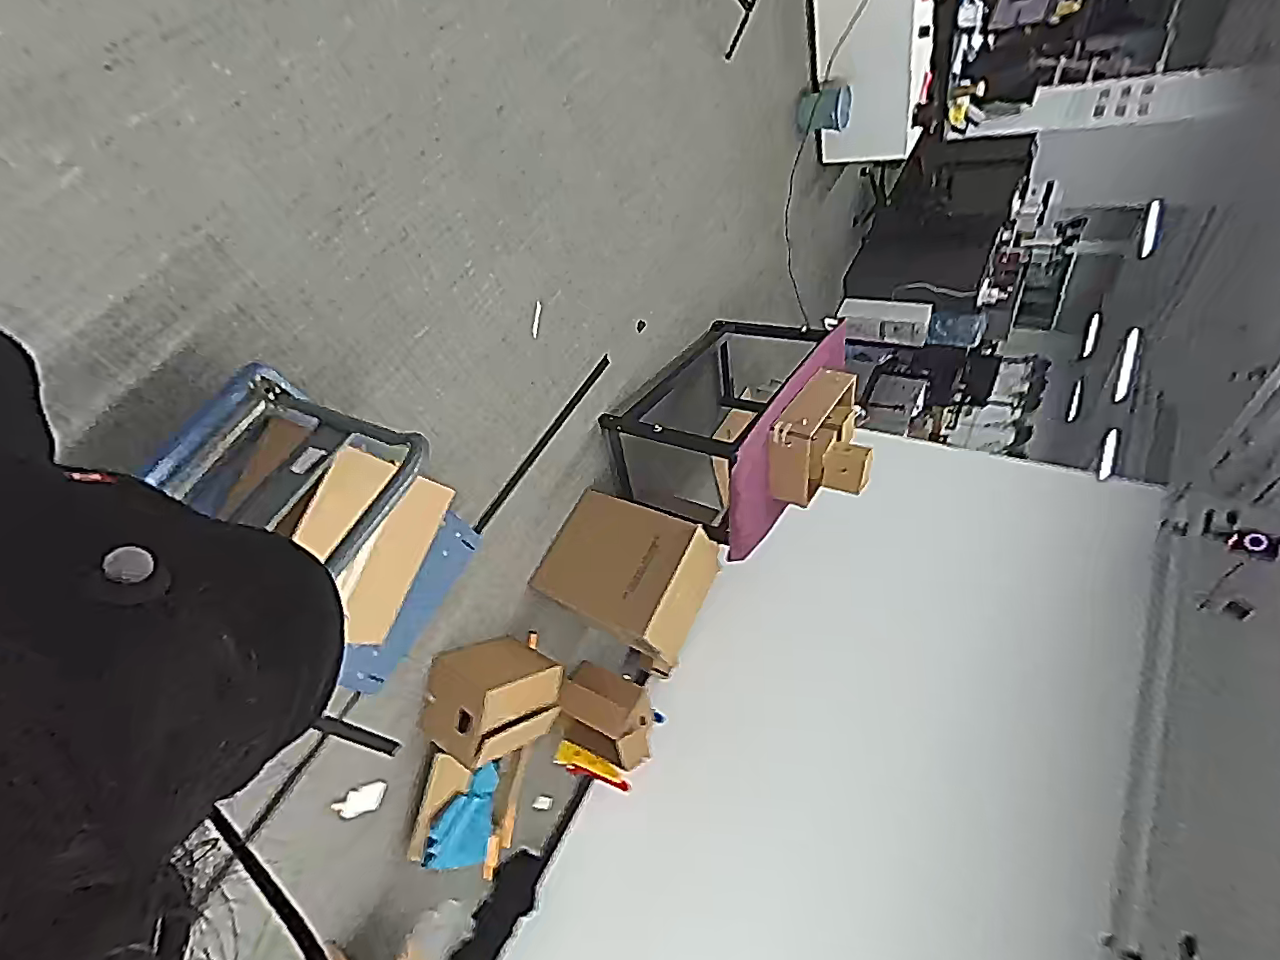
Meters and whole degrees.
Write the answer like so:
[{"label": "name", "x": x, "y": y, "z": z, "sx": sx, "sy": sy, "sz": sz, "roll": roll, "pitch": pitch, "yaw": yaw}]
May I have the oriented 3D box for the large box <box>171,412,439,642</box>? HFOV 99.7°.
[{"label": "large box", "x": -0.746, "y": 0.108, "z": 1.234, "sx": 0.320, "sy": 0.320, "sz": 0.408, "roll": 37, "pitch": 74, "yaw": -57}]
